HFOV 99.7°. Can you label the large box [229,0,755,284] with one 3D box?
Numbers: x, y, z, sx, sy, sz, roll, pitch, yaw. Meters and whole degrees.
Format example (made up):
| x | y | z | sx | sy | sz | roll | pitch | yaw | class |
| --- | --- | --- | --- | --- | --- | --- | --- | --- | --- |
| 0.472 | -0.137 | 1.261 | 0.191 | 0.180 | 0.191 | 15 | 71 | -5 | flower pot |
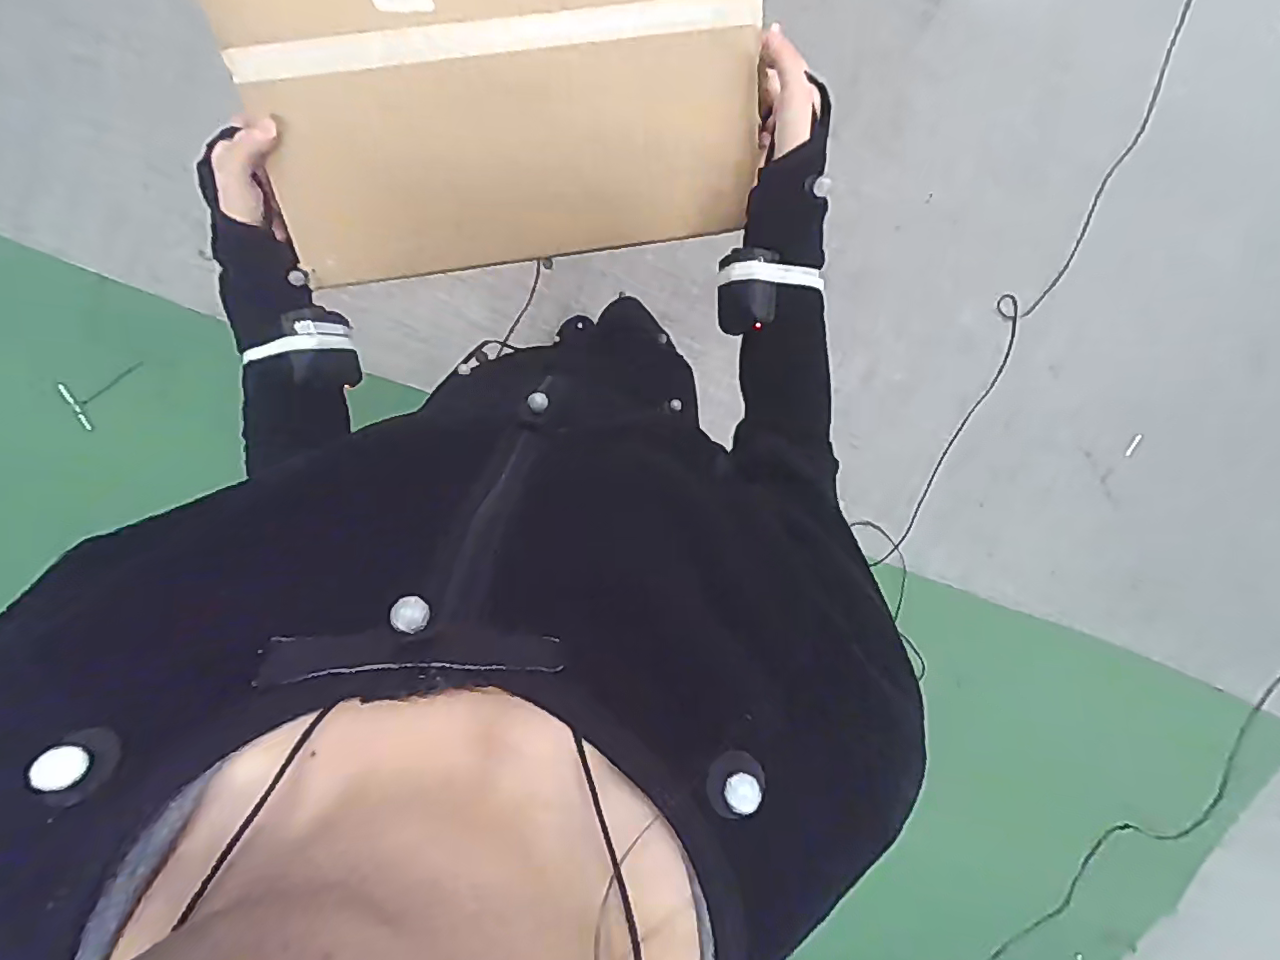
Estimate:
| x | y | z | sx | sy | sz | roll | pitch | yaw | class |
| --- | --- | --- | --- | --- | --- | --- | --- | --- | --- |
| -0.123 | -0.411 | 0.566 | 0.408 | 0.320 | 0.320 | -10 | 115 | -4 | large box |
